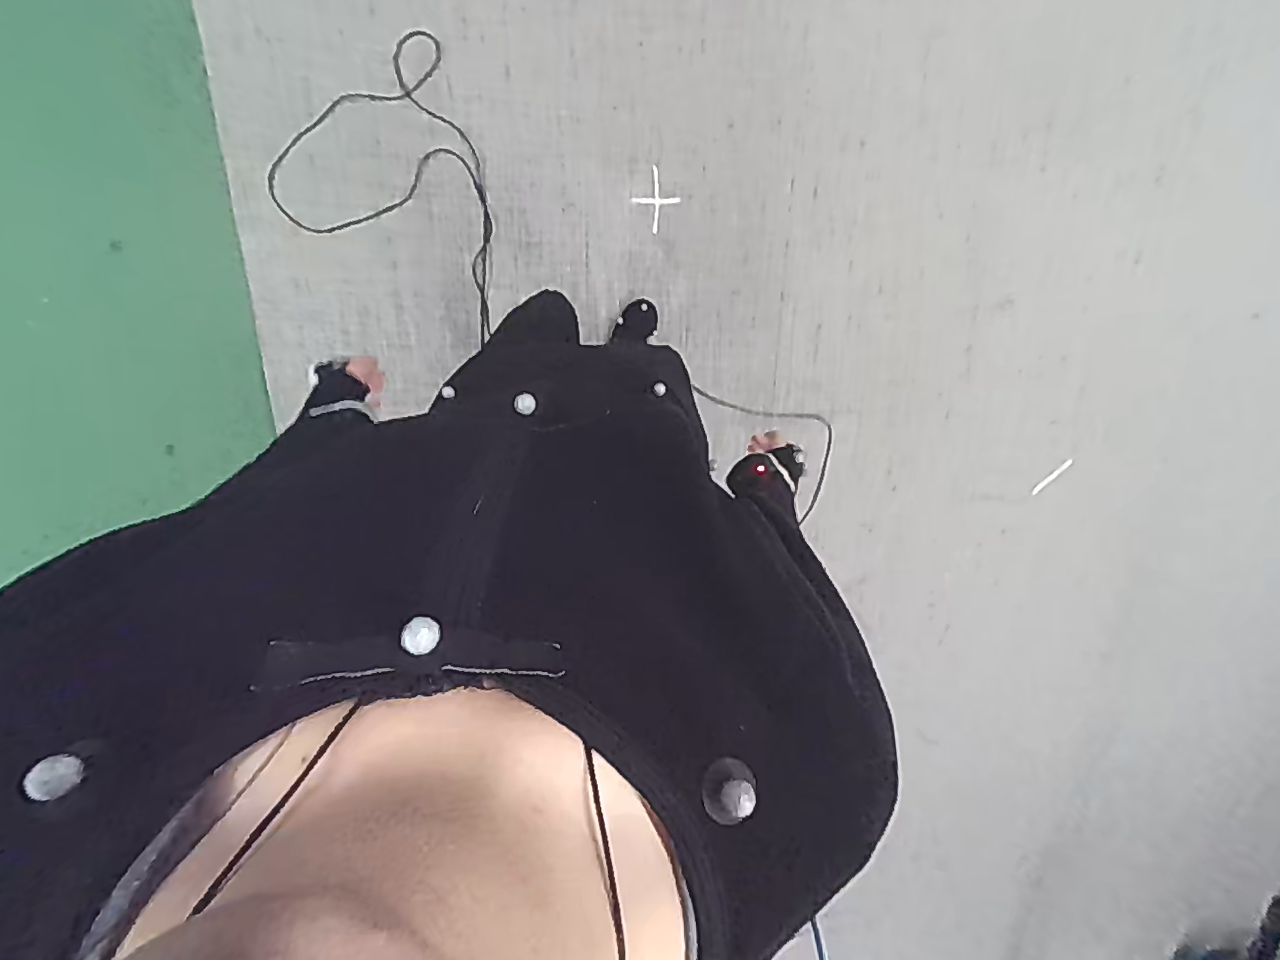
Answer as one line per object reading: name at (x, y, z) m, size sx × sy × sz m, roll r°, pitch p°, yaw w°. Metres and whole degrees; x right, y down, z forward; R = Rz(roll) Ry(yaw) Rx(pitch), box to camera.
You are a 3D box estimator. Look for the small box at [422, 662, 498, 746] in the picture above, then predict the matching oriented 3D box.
small box at (-0.508, 0.639, 1.543) m, size 0.179 × 0.176 × 0.168 m, roll -3°, pitch 106°, yaw -4°
